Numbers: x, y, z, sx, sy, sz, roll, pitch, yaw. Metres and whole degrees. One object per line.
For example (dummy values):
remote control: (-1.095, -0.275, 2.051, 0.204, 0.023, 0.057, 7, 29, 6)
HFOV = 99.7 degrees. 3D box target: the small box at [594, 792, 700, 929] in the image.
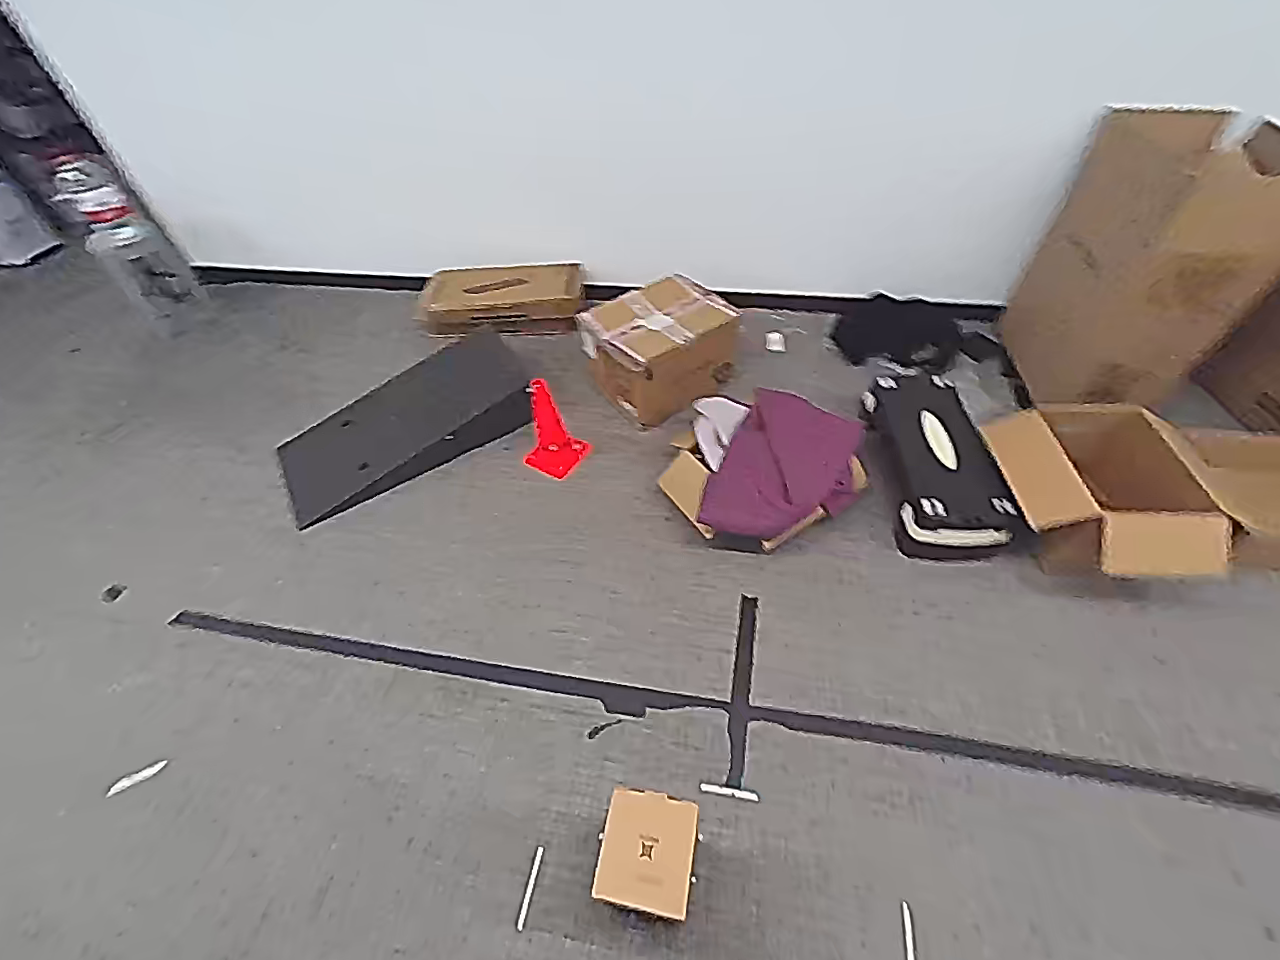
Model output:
small box: (0.020, 0.723, 1.028, 0.168, 0.176, 0.179, 6, 51, 11)
